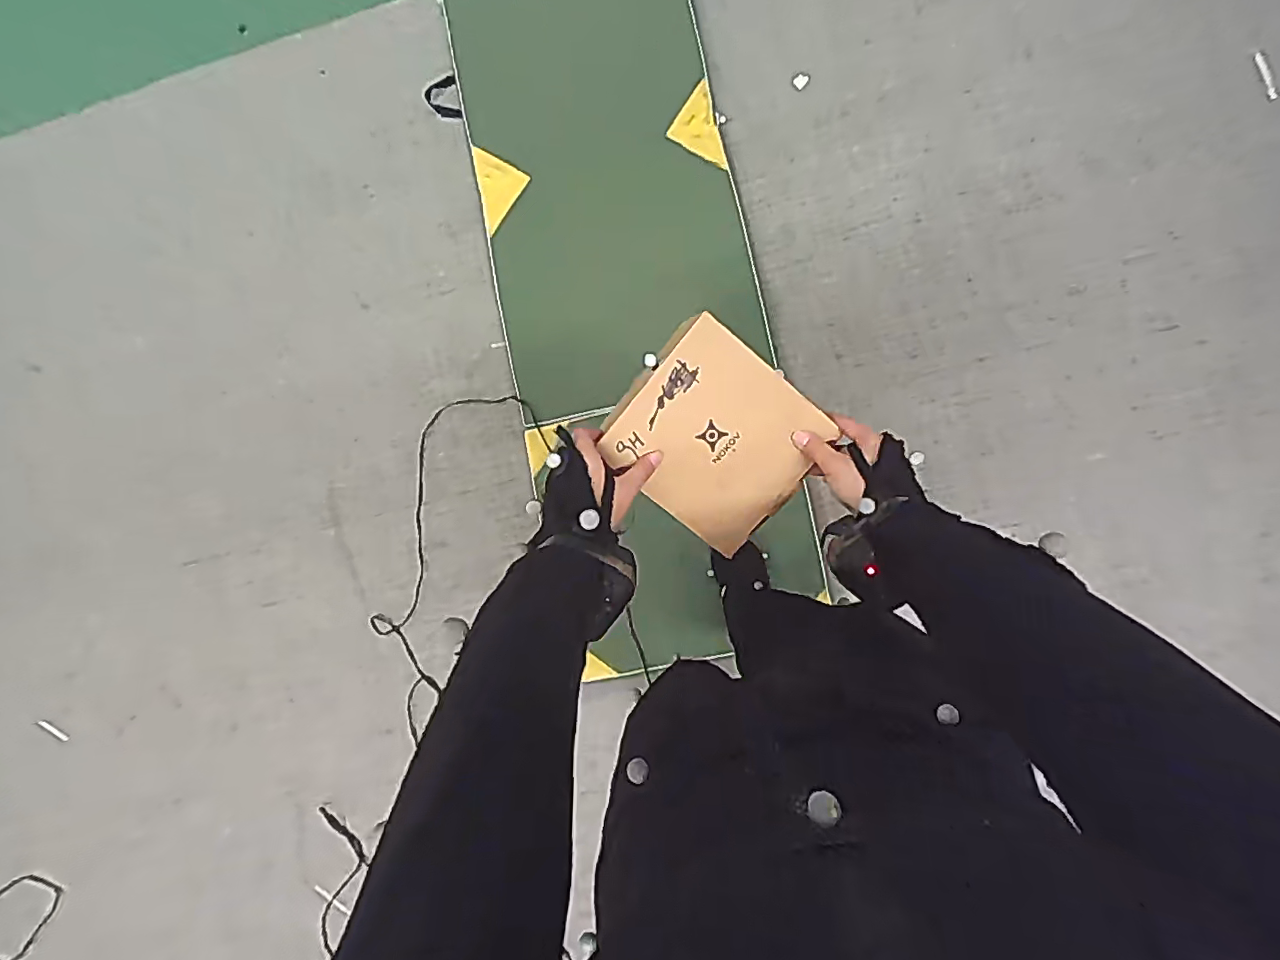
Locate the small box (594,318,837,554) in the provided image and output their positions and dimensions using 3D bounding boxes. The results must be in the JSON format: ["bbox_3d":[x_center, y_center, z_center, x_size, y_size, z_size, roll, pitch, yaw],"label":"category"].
[{"bbox_3d":[0.072,-0.056,0.591,0.179,0.176,0.168,38,100,-9],"label":"small box"}]
